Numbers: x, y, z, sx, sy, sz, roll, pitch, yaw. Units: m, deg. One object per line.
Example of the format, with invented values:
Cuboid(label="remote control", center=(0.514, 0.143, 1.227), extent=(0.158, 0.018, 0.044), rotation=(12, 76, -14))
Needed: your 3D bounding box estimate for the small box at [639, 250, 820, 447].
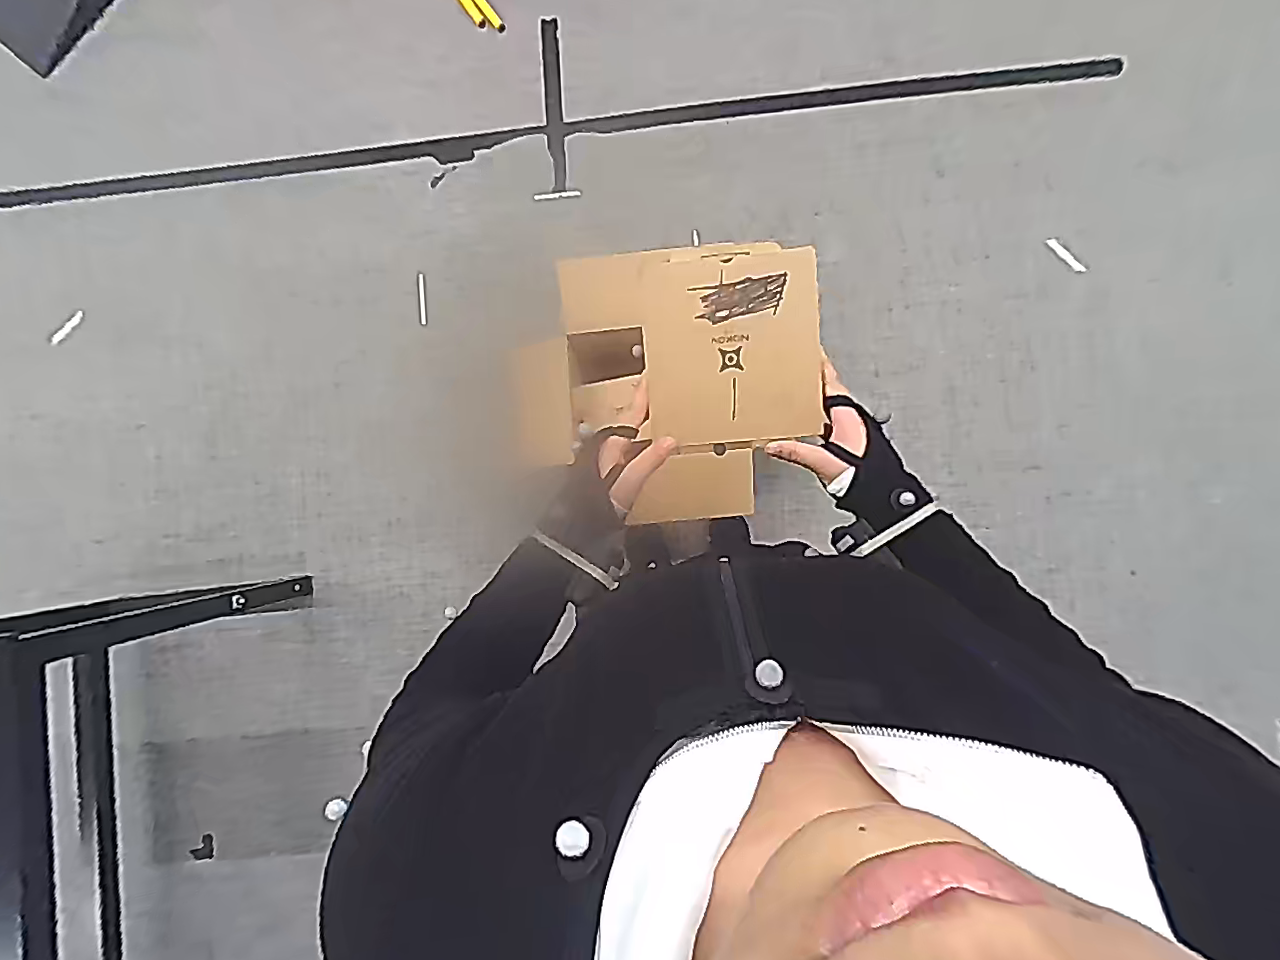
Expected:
Cuboid(label="small box", center=(0.087, -0.128, 0.588), extent=(0.168, 0.176, 0.179), rotation=(-4, 95, 3))
